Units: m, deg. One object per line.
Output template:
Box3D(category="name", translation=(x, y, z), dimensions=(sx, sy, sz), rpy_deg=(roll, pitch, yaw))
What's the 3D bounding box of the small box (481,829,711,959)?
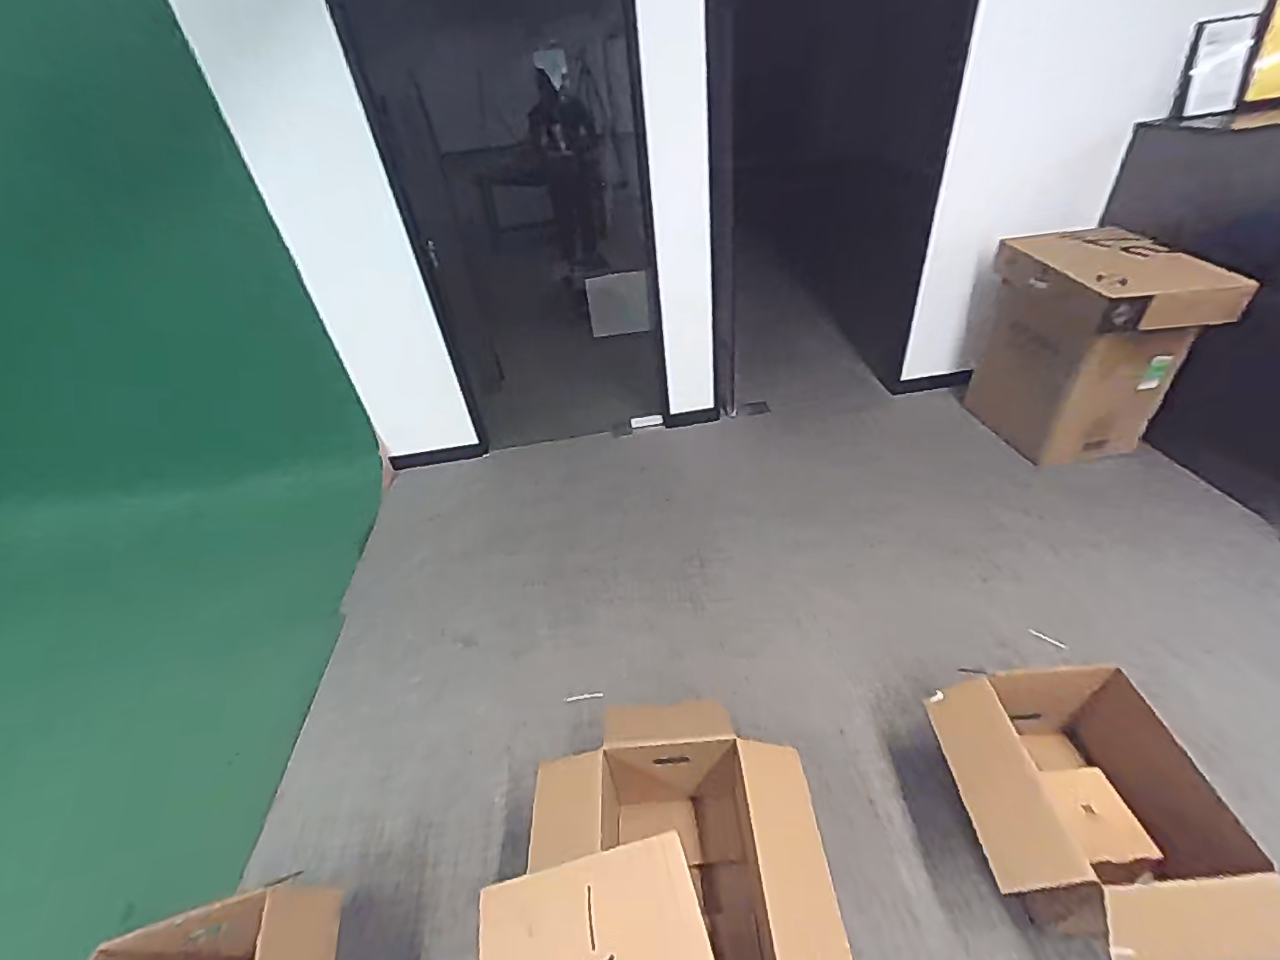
Box3D(category="small box", translation=(-0.023, 0.422, 0.421), dimensions=(0.168, 0.176, 0.179), rpy_deg=(-10, 33, -10))
